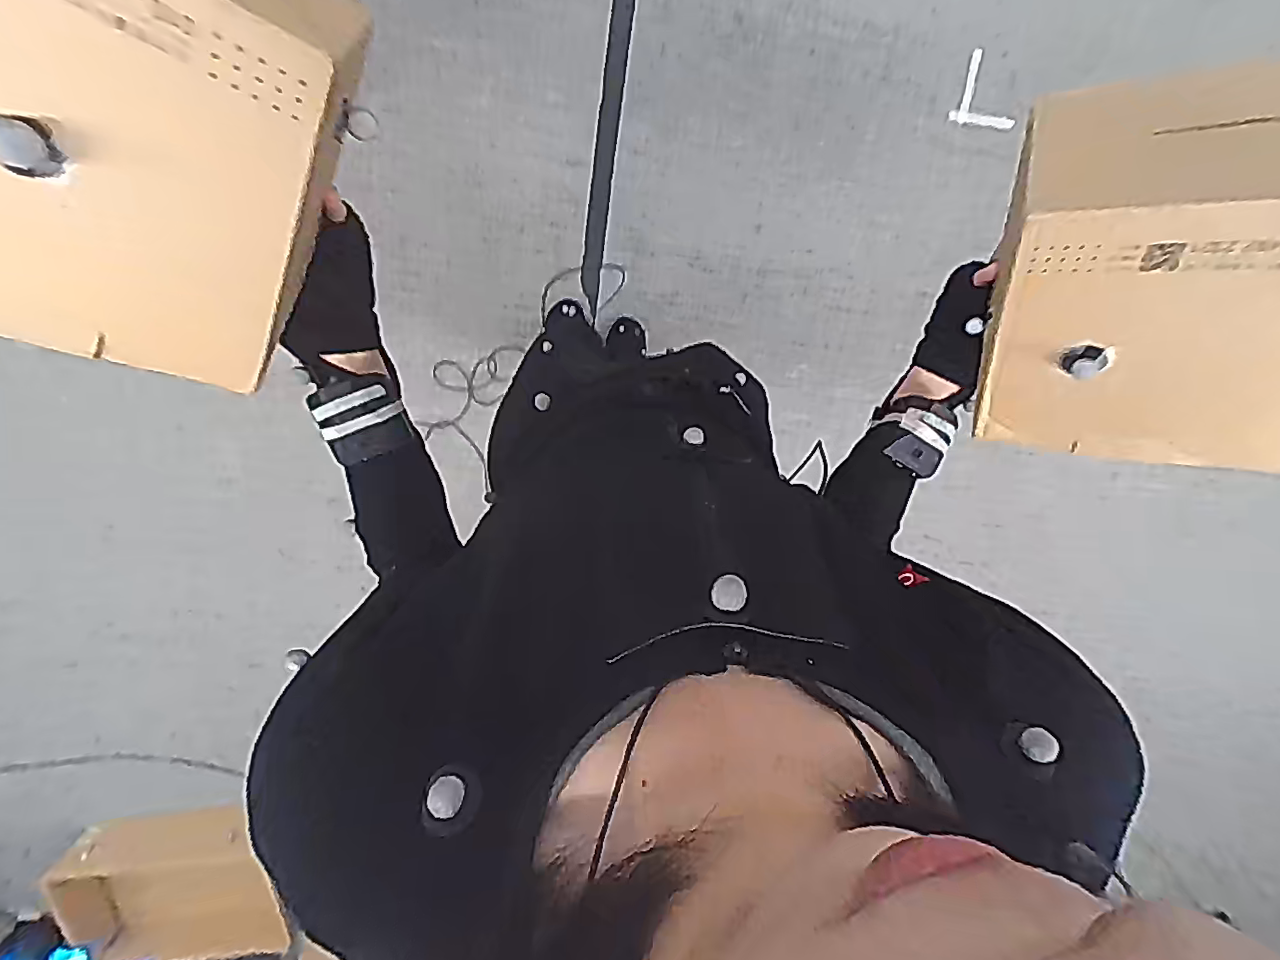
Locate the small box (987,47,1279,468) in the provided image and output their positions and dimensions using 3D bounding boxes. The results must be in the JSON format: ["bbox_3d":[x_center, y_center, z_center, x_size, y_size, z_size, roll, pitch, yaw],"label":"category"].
[{"bbox_3d":[0.325,-0.133,0.327,0.168,0.179,0.176,11,143,27],"label":"small box"}]

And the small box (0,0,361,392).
[{"bbox_3d":[-0.240,-0.174,0.241,0.168,0.179,0.176,16,125,-32],"label":"small box"}]
